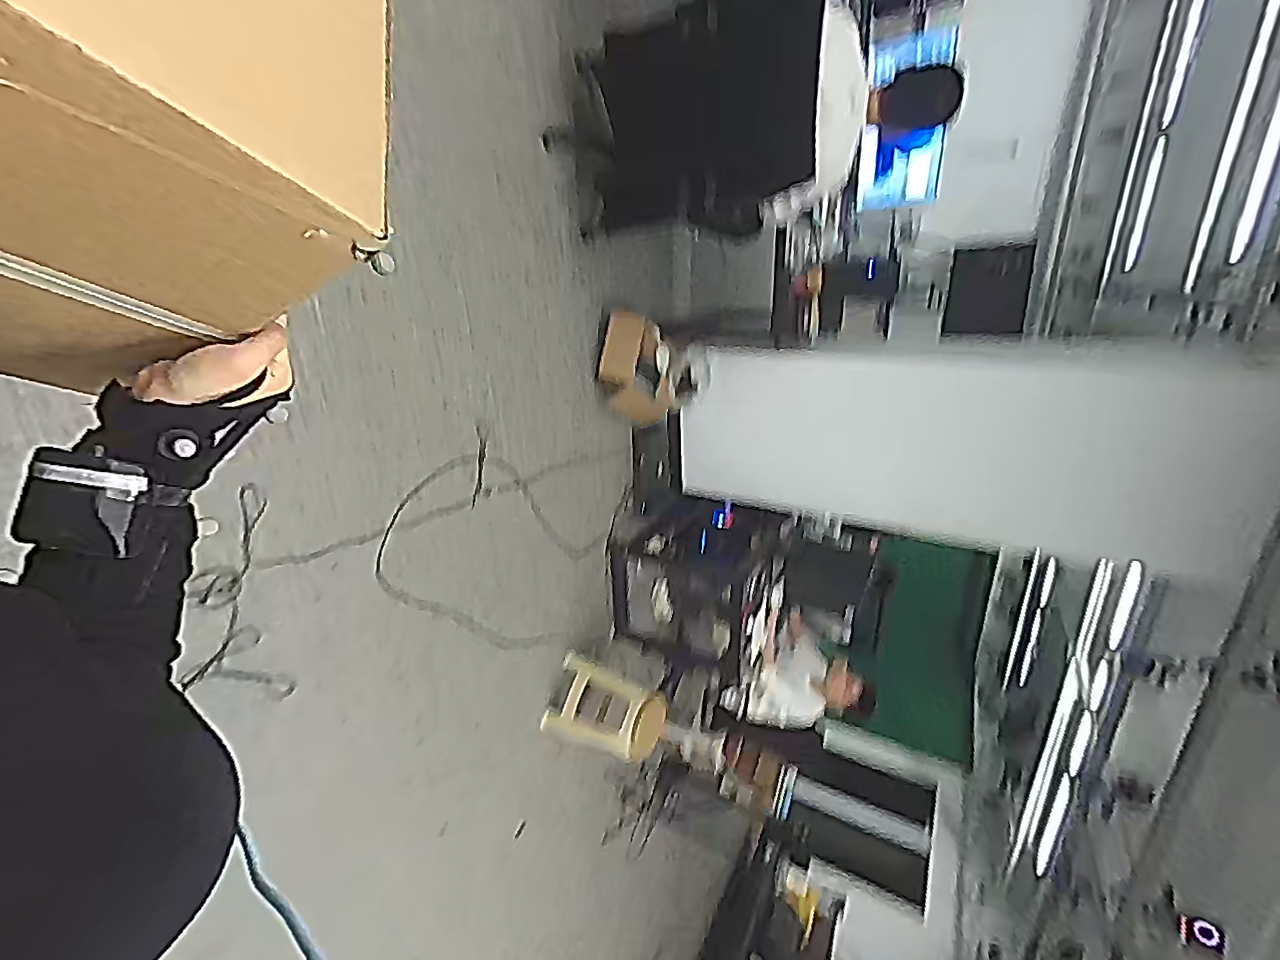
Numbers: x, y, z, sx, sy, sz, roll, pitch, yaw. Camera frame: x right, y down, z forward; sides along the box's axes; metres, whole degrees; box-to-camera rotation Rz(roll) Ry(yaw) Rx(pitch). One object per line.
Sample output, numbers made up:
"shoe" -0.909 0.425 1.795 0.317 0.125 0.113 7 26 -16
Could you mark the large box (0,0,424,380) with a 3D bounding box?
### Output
"large box" -0.368 -0.289 0.236 0.408 0.320 0.320 16 63 -58
